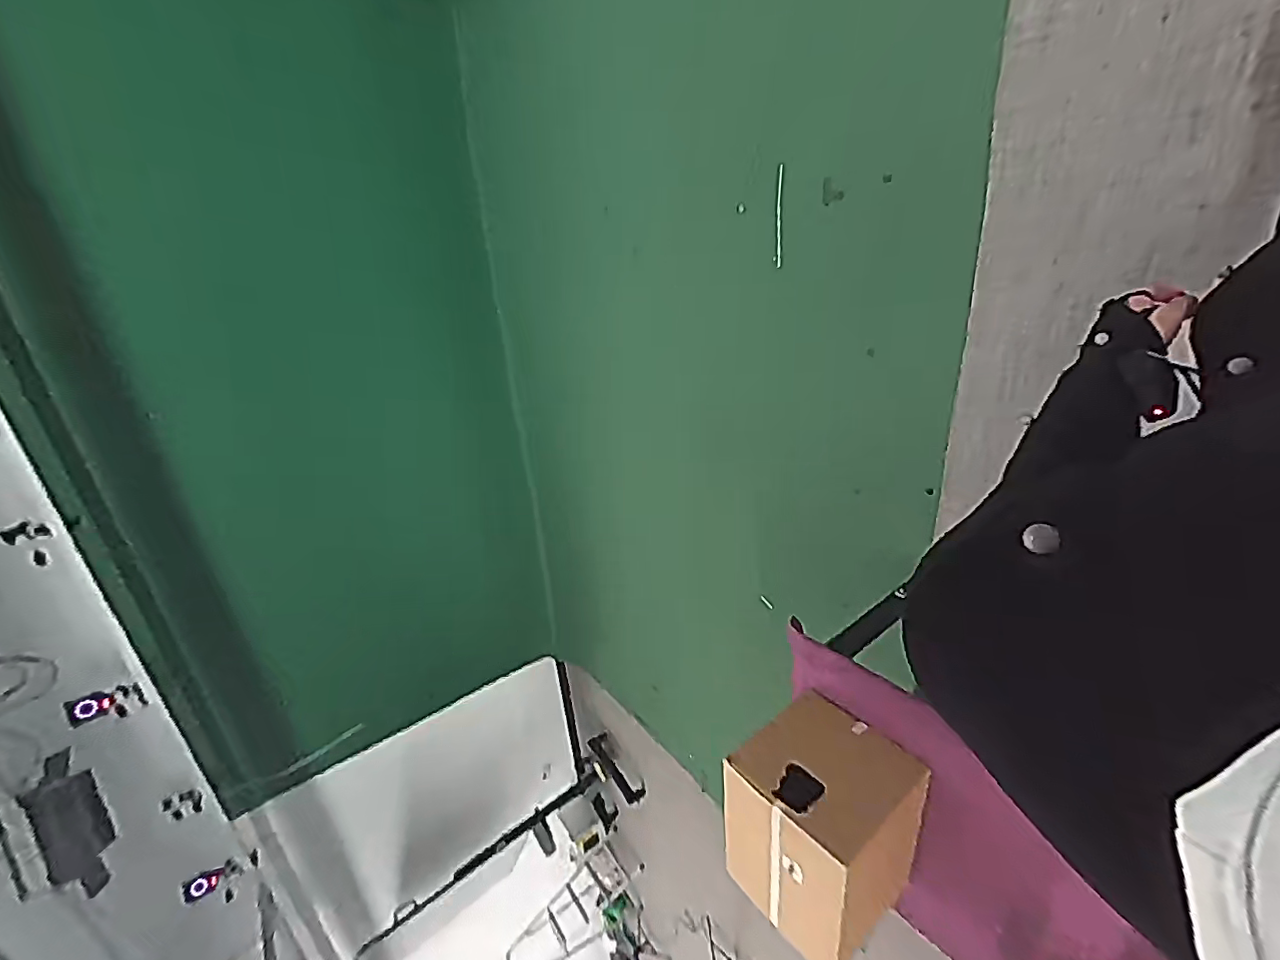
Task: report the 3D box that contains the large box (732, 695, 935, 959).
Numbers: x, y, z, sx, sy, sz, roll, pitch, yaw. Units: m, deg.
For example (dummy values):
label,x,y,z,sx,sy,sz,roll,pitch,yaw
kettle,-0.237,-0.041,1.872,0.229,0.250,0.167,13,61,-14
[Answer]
label,x,y,z,sx,sy,sz,roll,pitch,yaw
large box,0.430,0.796,1.233,0.320,0.320,0.408,21,124,48
